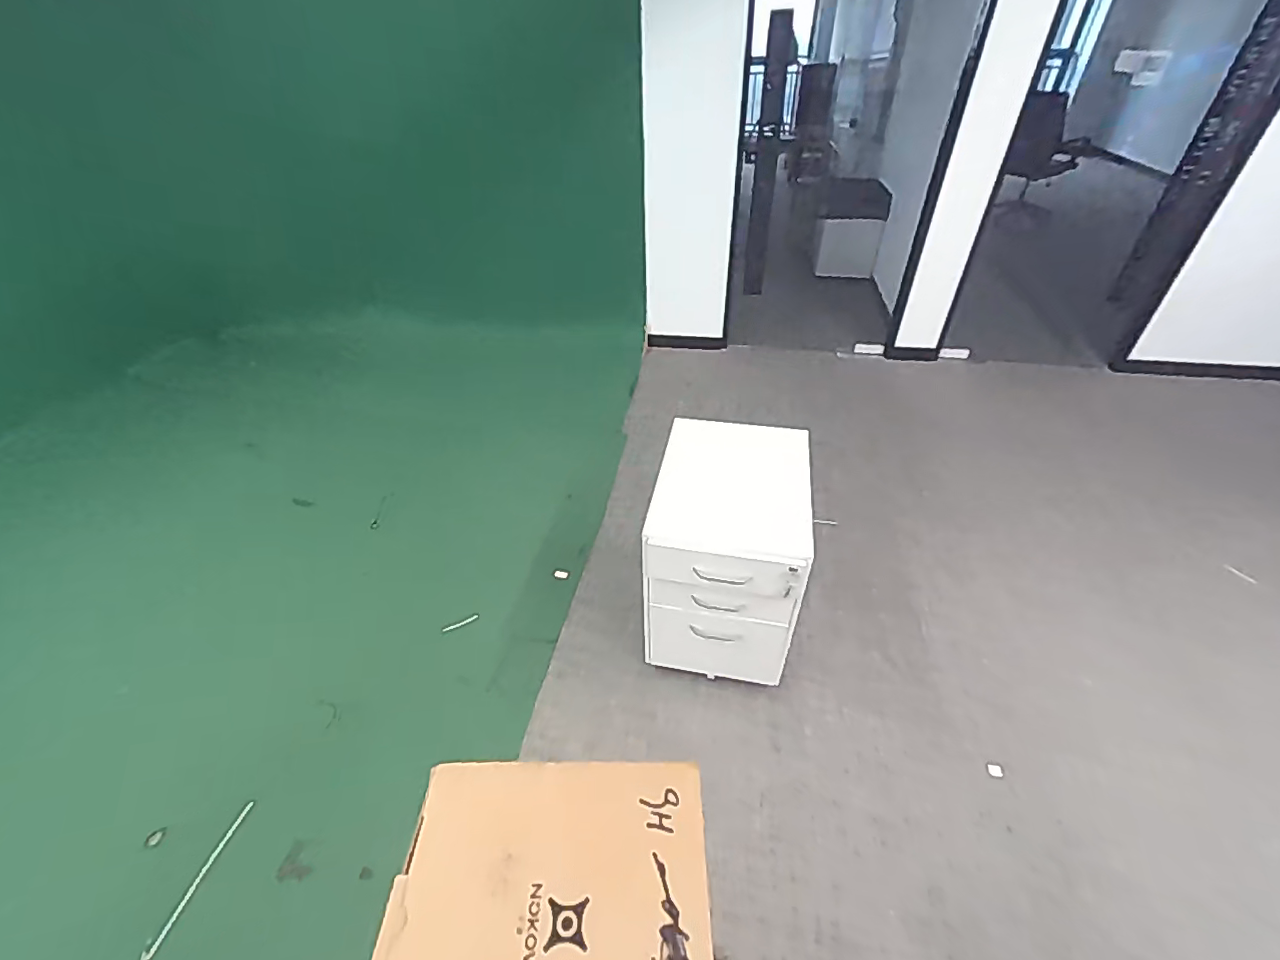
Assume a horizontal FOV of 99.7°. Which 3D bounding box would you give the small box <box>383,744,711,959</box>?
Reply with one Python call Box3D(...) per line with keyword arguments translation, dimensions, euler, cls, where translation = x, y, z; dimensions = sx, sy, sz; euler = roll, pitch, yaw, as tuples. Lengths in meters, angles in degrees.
Box3D(translation=(-0.048, 0.295, 0.357), dimensions=(0.179, 0.176, 0.168), euler=(1, 41, 0), cls="small box")
